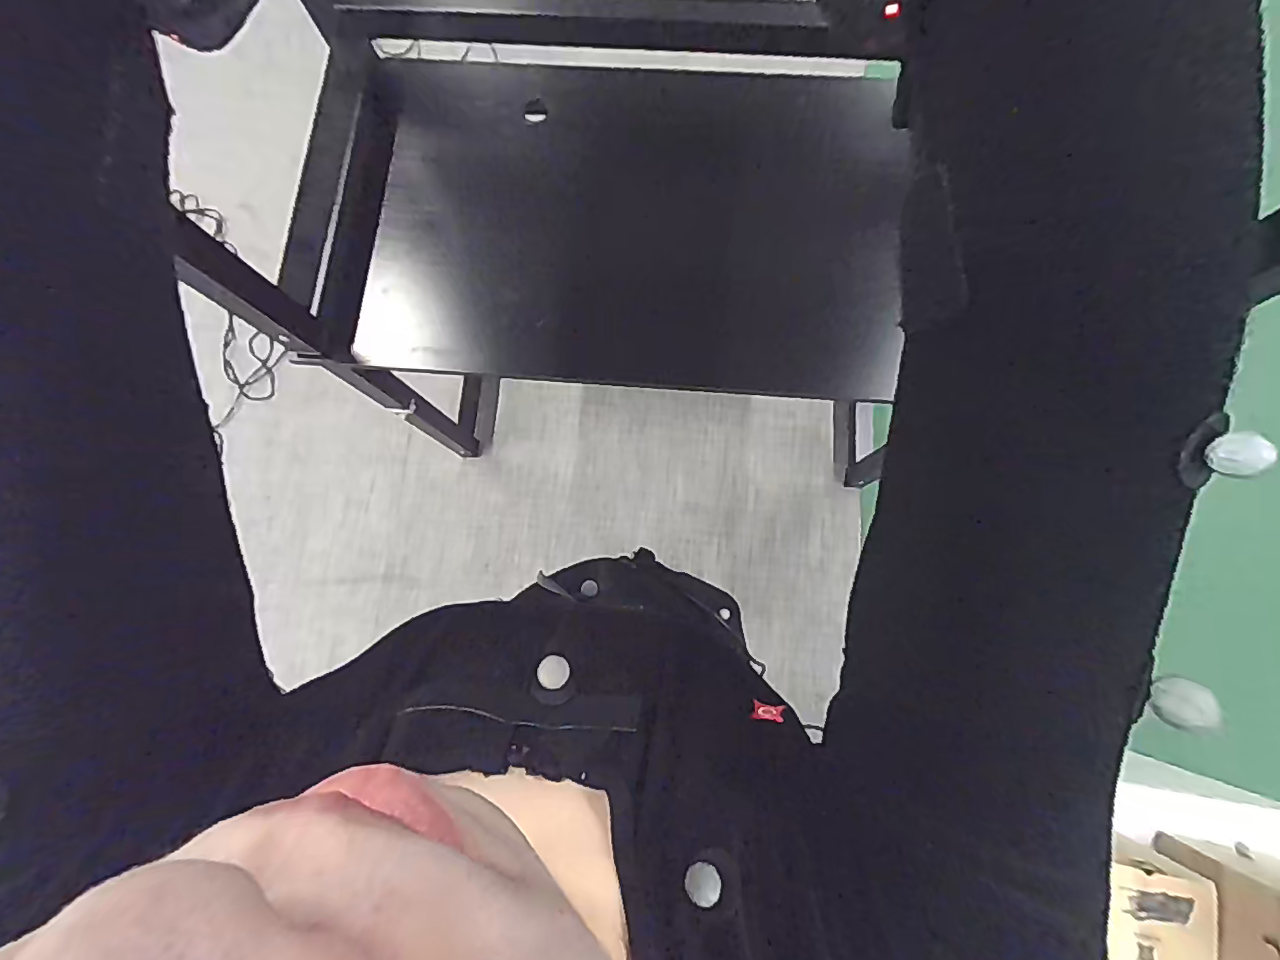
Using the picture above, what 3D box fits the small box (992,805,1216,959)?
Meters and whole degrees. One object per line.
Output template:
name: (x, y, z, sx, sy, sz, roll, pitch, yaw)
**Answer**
small box: (0.616, 0.579, 0.737, 0.168, 0.176, 0.179, 12, 81, 3)
